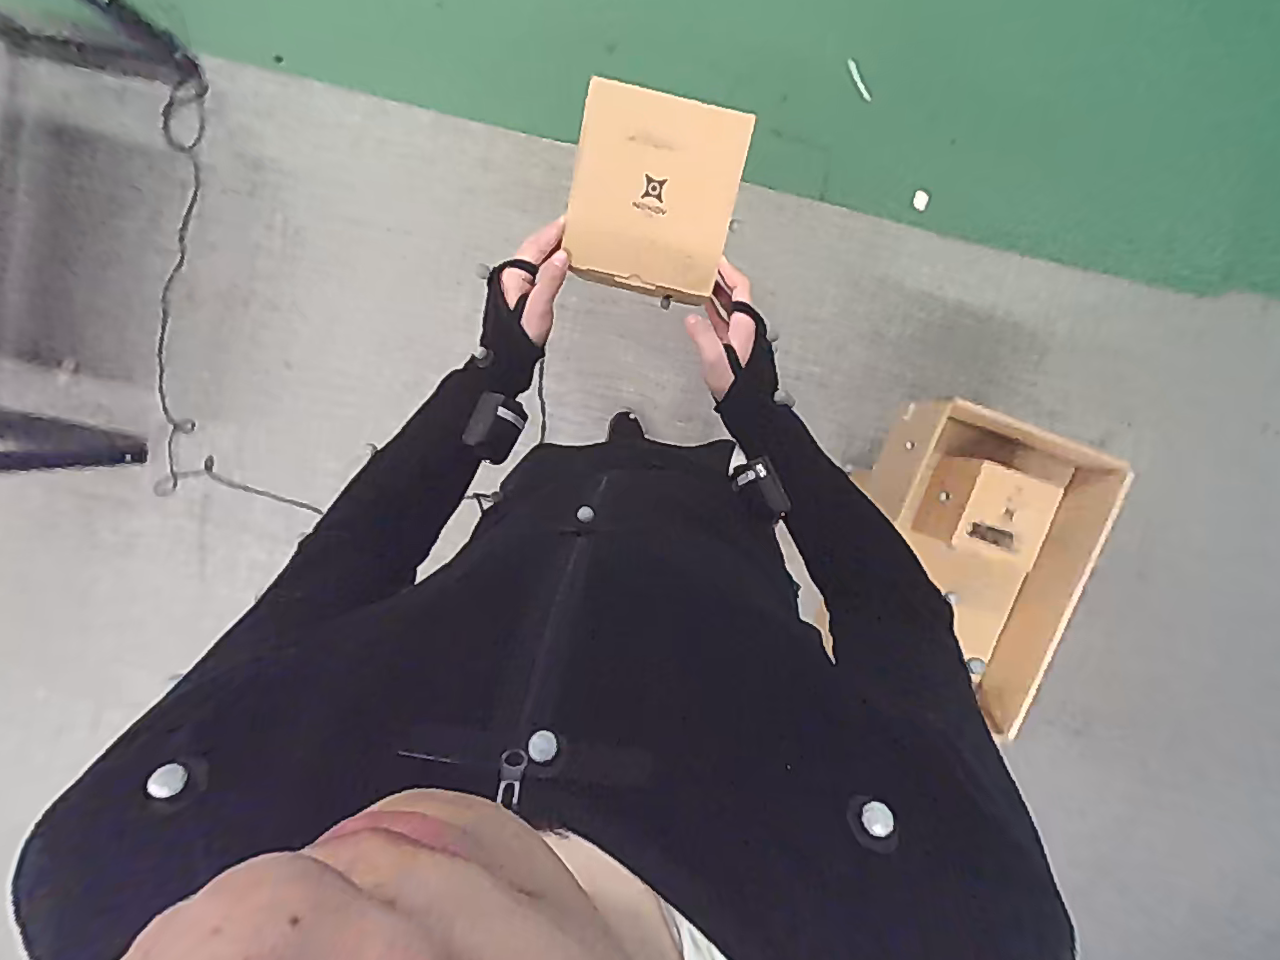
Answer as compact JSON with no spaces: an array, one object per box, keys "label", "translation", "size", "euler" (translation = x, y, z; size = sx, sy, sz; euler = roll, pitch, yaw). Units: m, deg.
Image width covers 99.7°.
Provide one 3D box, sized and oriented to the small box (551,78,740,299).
[{"label":"small box","translation":[0.006,-0.315,0.626],"size":[0.168,0.176,0.179],"euler":[13,106,-1]}]
